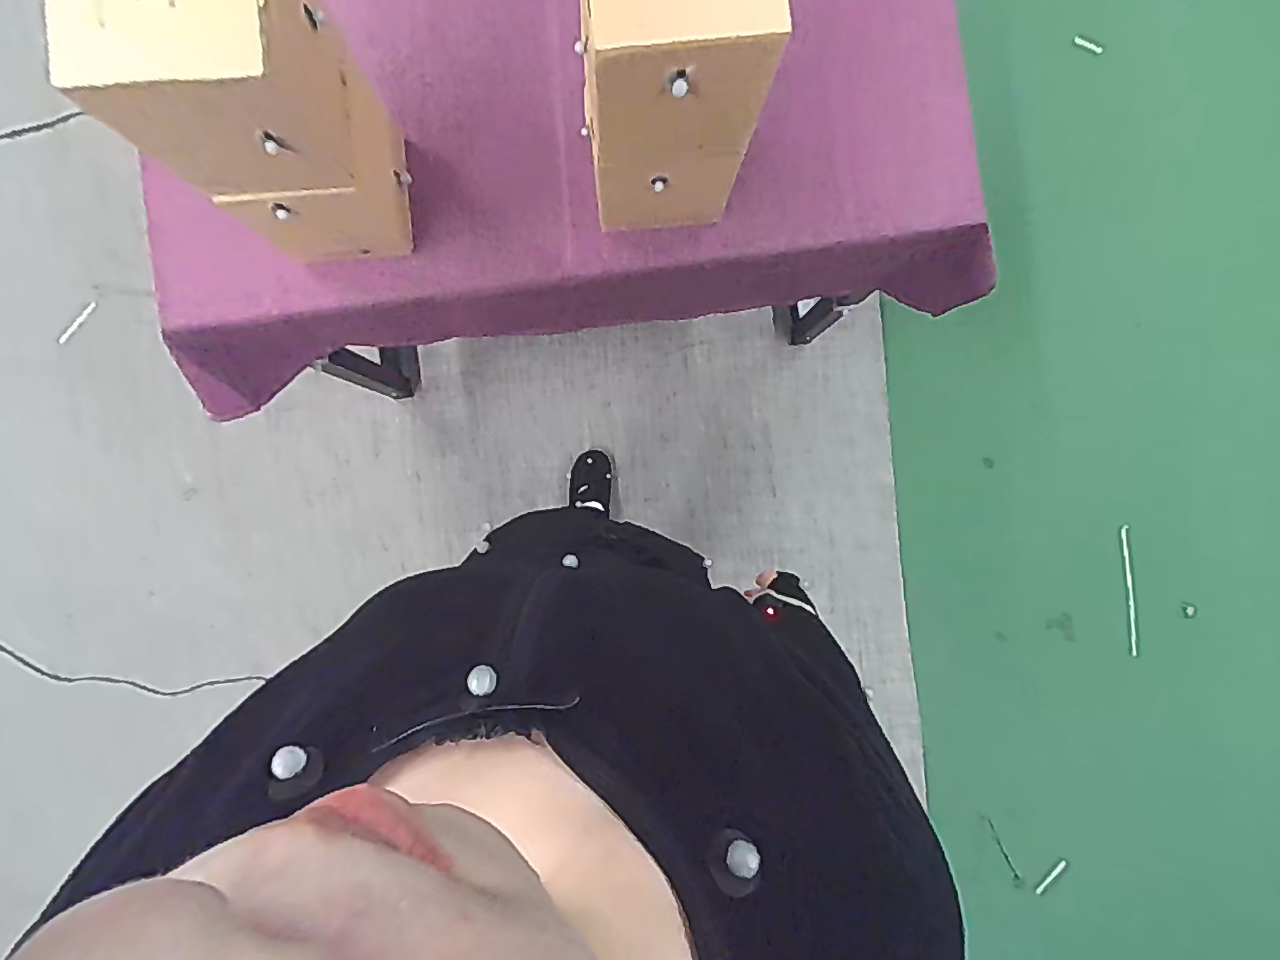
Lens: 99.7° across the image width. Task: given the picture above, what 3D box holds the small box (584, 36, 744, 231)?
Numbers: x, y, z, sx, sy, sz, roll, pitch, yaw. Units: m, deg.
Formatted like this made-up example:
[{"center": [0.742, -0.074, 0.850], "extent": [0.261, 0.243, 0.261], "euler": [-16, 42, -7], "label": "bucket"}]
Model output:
[{"center": [0.027, -0.447, 0.710], "extent": [0.179, 0.176, 0.168], "euler": [-6, 89, -2], "label": "small box"}]

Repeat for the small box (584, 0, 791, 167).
[{"center": [0.036, -0.450, 0.548], "extent": [0.179, 0.176, 0.168], "euler": [-7, 90, -1], "label": "small box"}]

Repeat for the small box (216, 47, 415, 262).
[{"center": [-0.407, -0.405, 0.696], "extent": [0.168, 0.176, 0.179], "euler": [-5, 89, -1], "label": "small box"}]

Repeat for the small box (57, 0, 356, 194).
[{"center": [-0.401, -0.408, 0.532], "extent": [0.179, 0.176, 0.168], "euler": [-4, 89, -1], "label": "small box"}]
